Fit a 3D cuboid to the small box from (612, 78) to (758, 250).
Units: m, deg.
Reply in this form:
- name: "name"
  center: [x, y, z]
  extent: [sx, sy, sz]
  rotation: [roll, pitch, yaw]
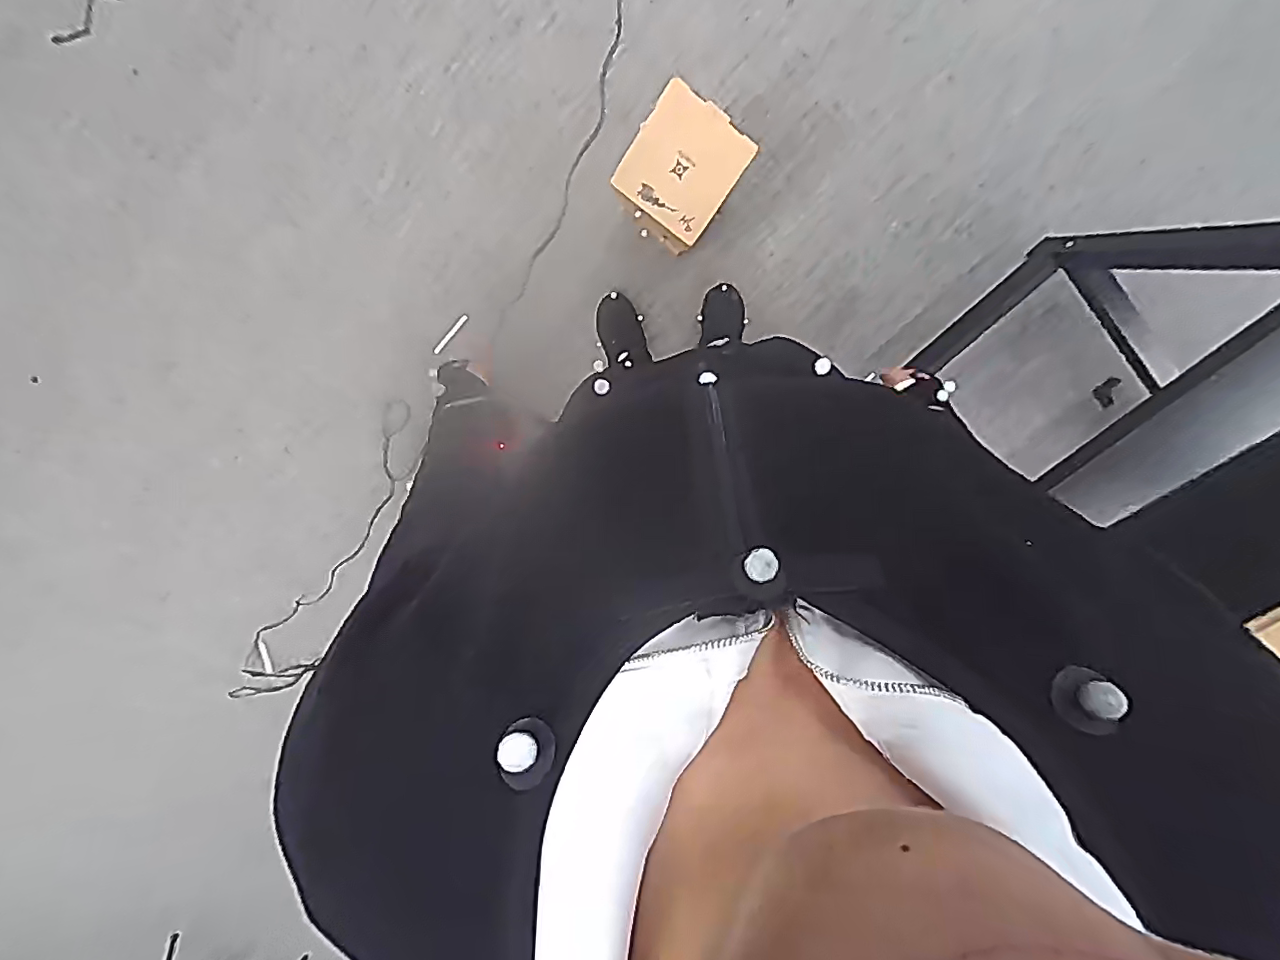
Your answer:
- name: "small box"
  center: [0.070, -0.516, 0.914]
  extent: [0.168, 0.176, 0.179]
  rotation: [35, 107, -10]

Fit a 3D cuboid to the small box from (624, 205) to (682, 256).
- name: "small box"
  center: [0.078, -0.632, 1.220]
  extent: [0.168, 0.176, 0.179]
  rotation: [39, 108, -12]
